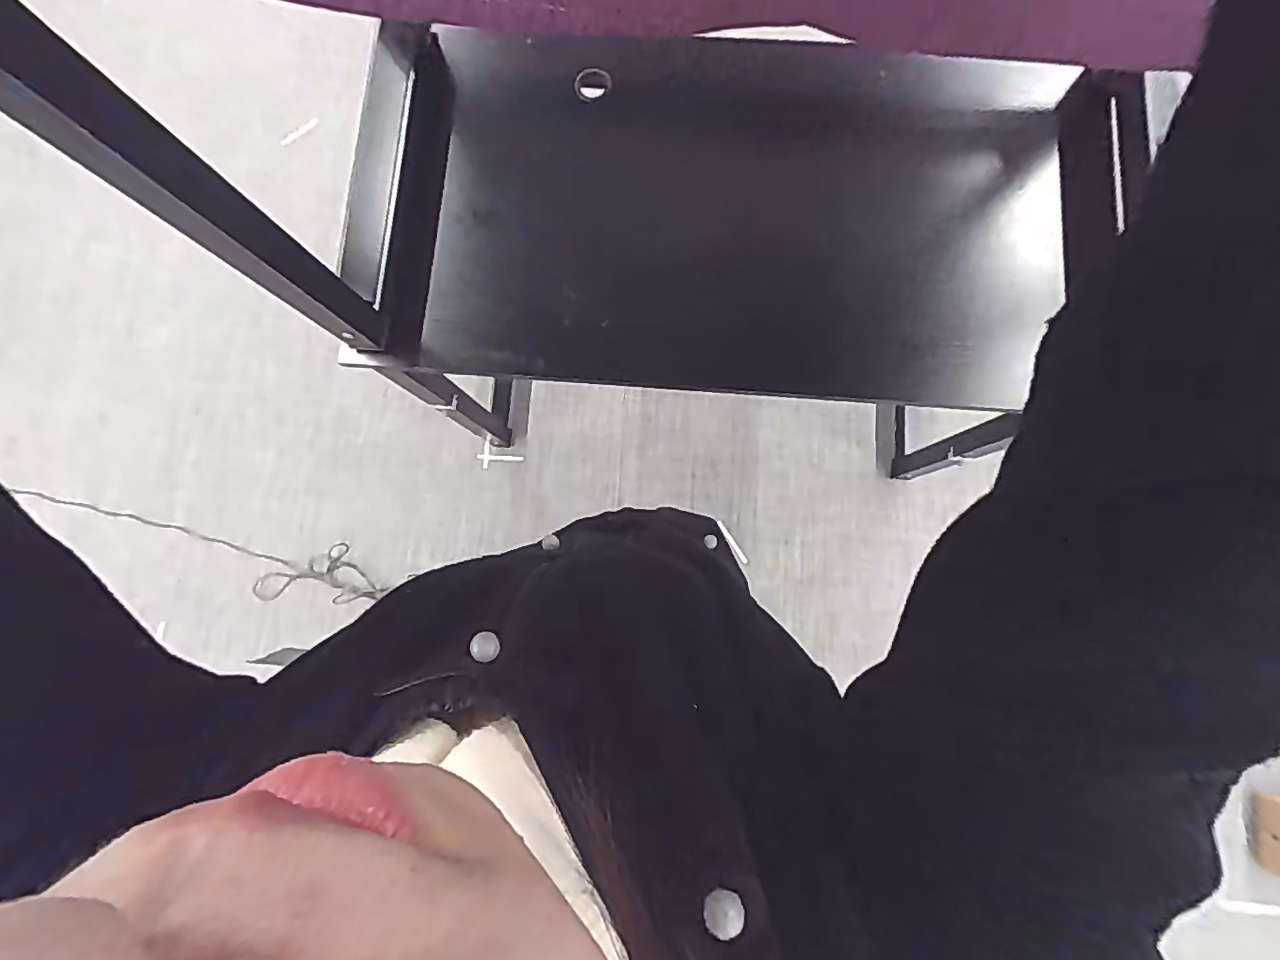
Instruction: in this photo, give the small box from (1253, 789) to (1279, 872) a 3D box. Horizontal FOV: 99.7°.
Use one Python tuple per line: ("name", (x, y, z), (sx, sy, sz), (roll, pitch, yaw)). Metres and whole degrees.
("small box", (1.616, 0.865, 1.273), (0.168, 0.176, 0.179), (5, 84, 3))
